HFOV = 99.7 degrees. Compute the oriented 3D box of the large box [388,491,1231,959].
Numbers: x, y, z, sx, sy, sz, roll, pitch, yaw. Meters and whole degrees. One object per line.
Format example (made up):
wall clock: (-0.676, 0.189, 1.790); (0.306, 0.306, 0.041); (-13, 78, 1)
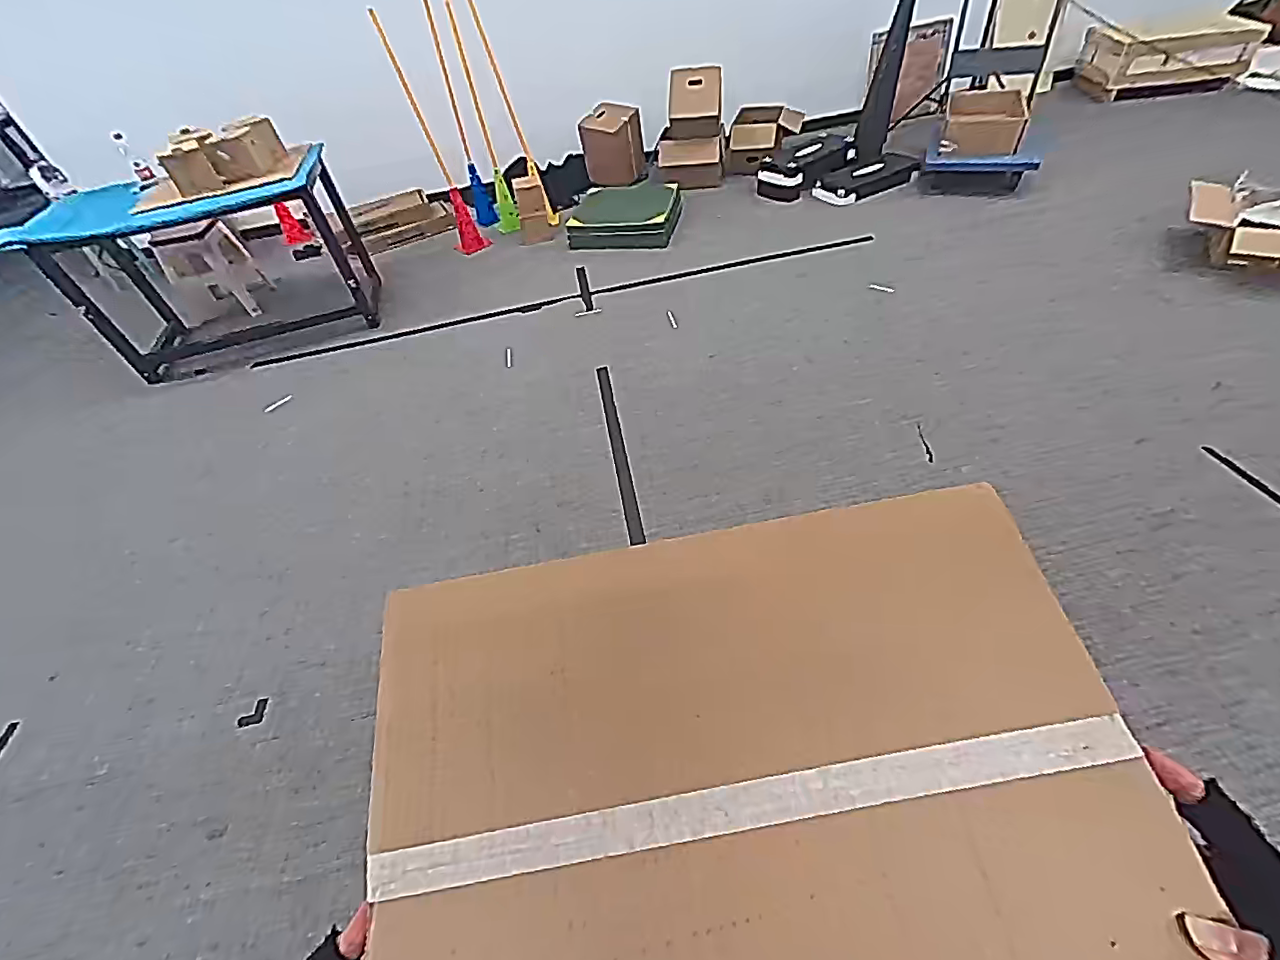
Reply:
large box: (0.073, 0.248, 0.423); (0.408, 0.320, 0.320); (-11, 61, 0)
